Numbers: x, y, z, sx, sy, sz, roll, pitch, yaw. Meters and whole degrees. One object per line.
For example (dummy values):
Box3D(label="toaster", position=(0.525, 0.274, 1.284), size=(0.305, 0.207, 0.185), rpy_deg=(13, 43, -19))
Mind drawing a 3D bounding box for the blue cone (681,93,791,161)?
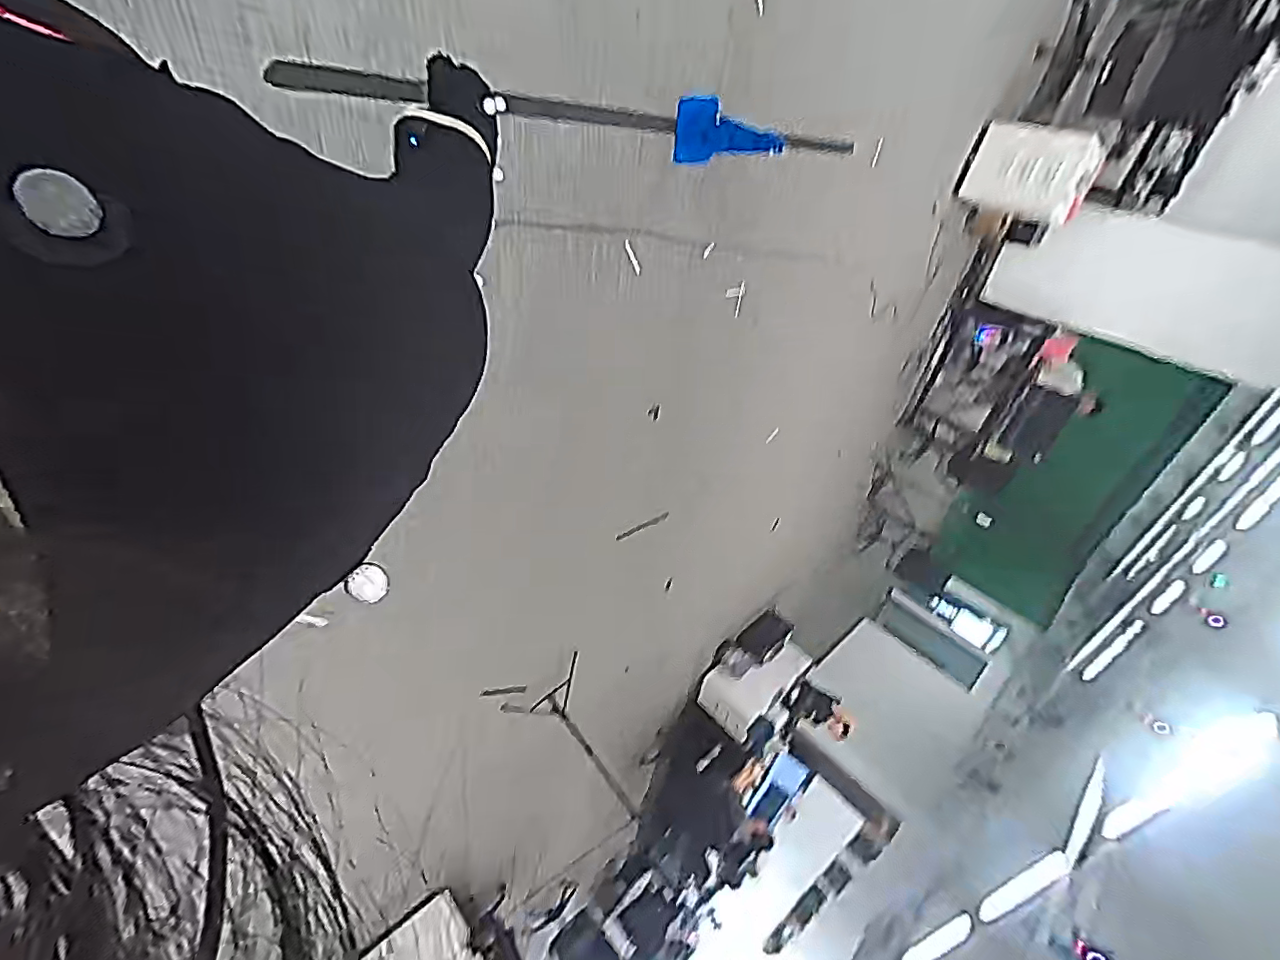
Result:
Box3D(label="blue cone", position=(0.324, -1.124, 1.754), size=(0.193, 0.380, 0.192), rpy_deg=(-30, 140, -34))
